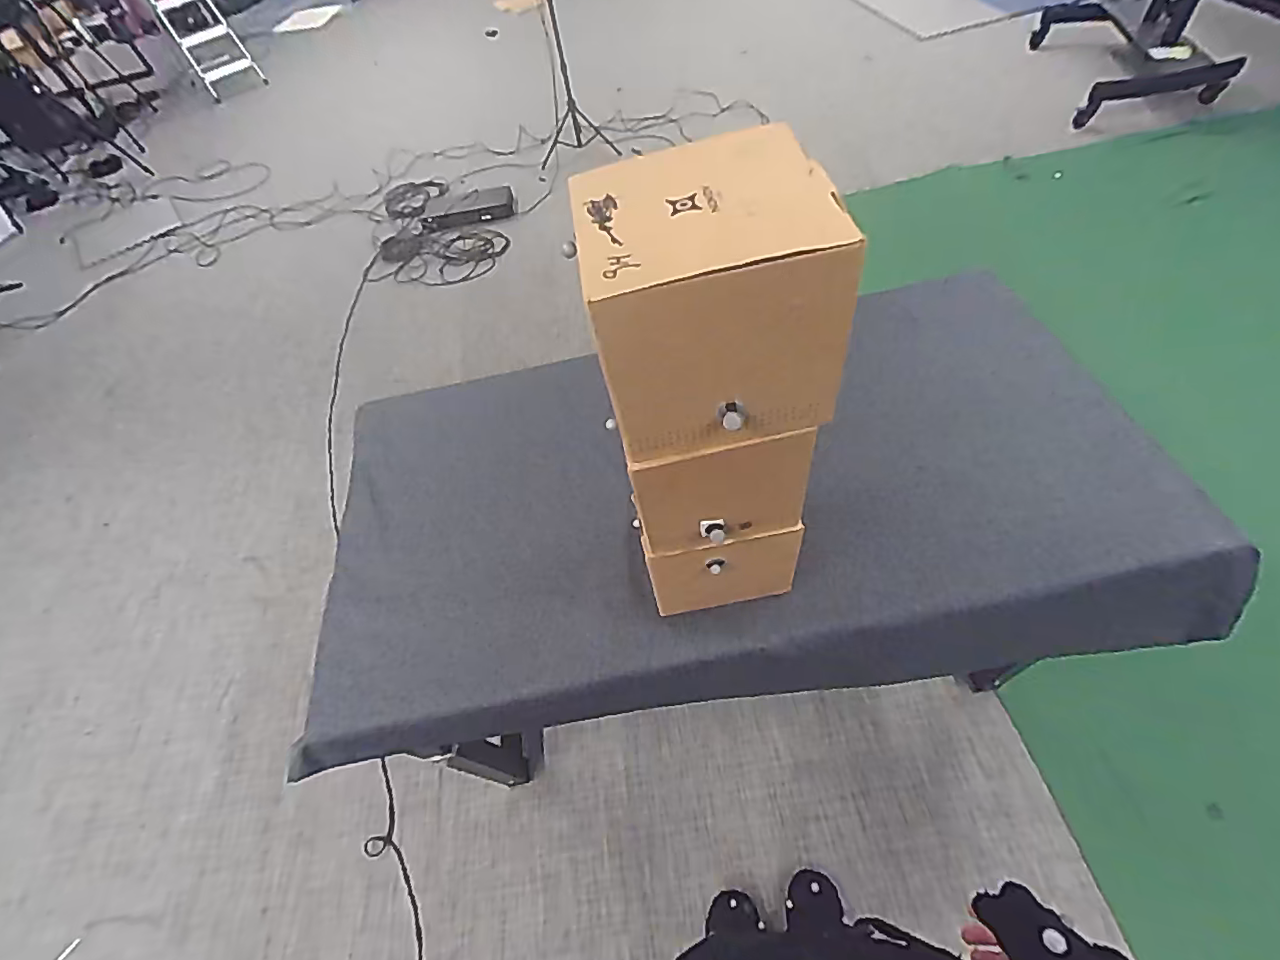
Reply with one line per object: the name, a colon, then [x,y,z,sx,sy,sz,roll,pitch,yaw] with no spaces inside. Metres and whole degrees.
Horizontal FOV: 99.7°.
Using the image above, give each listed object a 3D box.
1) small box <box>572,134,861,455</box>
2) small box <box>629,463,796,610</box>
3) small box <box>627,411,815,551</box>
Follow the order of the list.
small box: [0.051,-0.143,0.442,0.179,0.176,0.168,-11,54,2]
small box: [0.091,0.058,0.716,0.179,0.176,0.168,-11,55,1]
small box: [0.068,-0.050,0.576,0.168,0.176,0.179,-14,55,1]
